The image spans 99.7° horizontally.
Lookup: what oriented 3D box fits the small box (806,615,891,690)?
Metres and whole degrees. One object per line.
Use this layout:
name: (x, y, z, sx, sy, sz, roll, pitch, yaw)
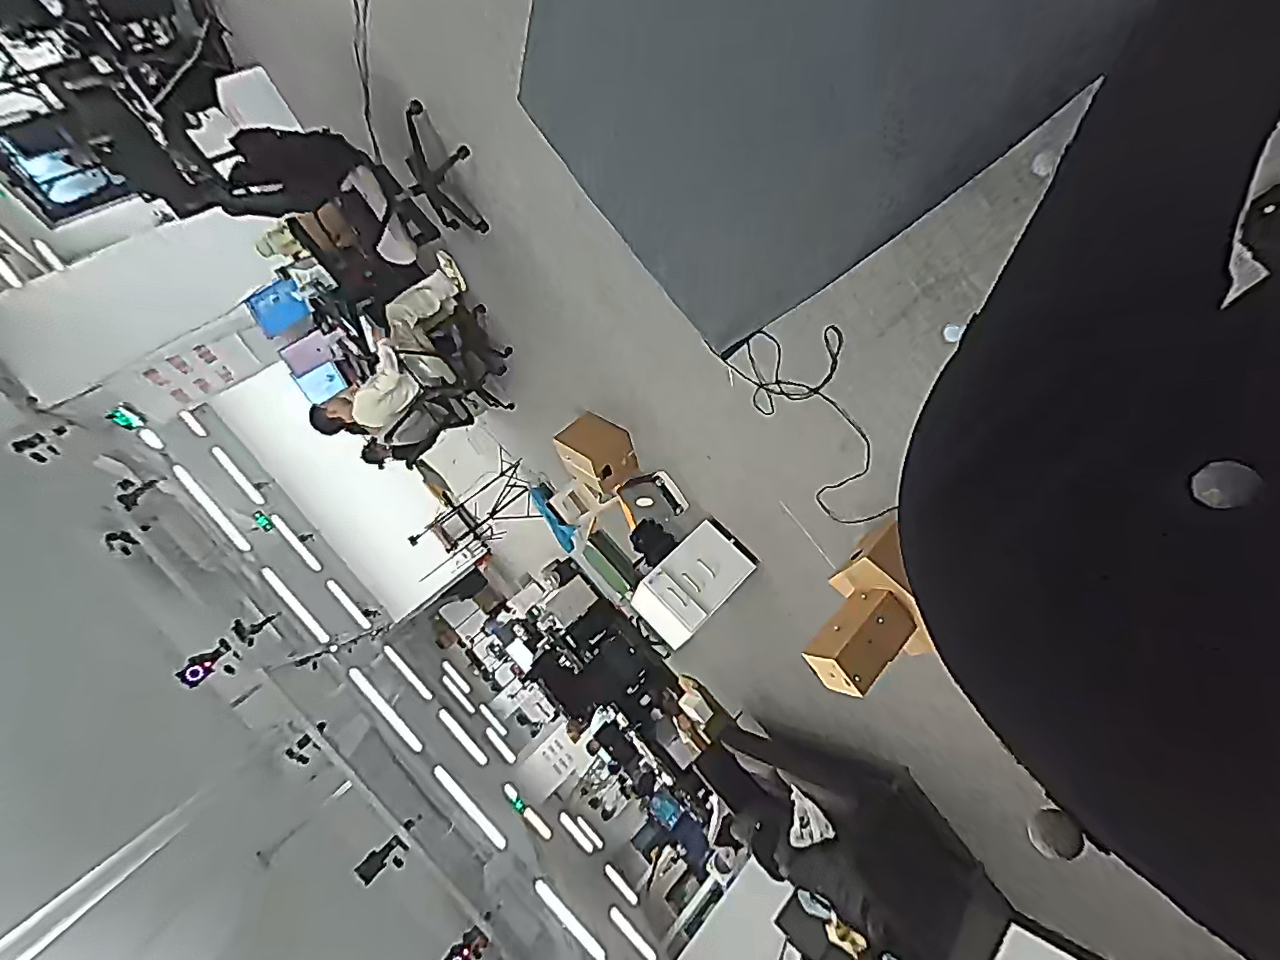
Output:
small box: (0.716, 0.584, 1.853, 0.168, 0.176, 0.179, 51, 159, -5)
